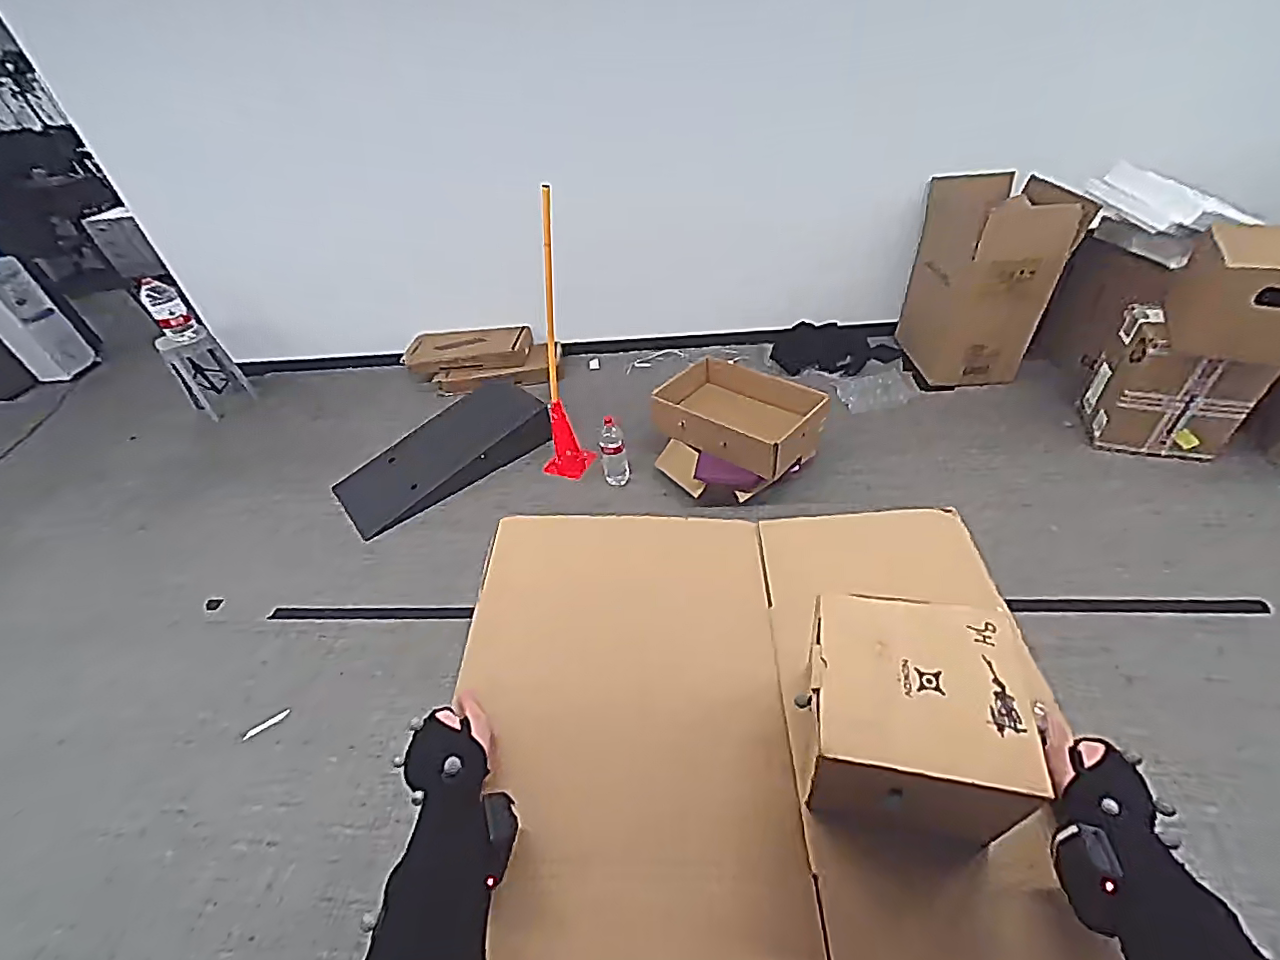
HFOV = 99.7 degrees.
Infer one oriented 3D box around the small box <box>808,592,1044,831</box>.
[{"bbox_3d":[0.267,0.236,0.554,0.179,0.176,0.168,3,48,16],"label":"small box"}]
